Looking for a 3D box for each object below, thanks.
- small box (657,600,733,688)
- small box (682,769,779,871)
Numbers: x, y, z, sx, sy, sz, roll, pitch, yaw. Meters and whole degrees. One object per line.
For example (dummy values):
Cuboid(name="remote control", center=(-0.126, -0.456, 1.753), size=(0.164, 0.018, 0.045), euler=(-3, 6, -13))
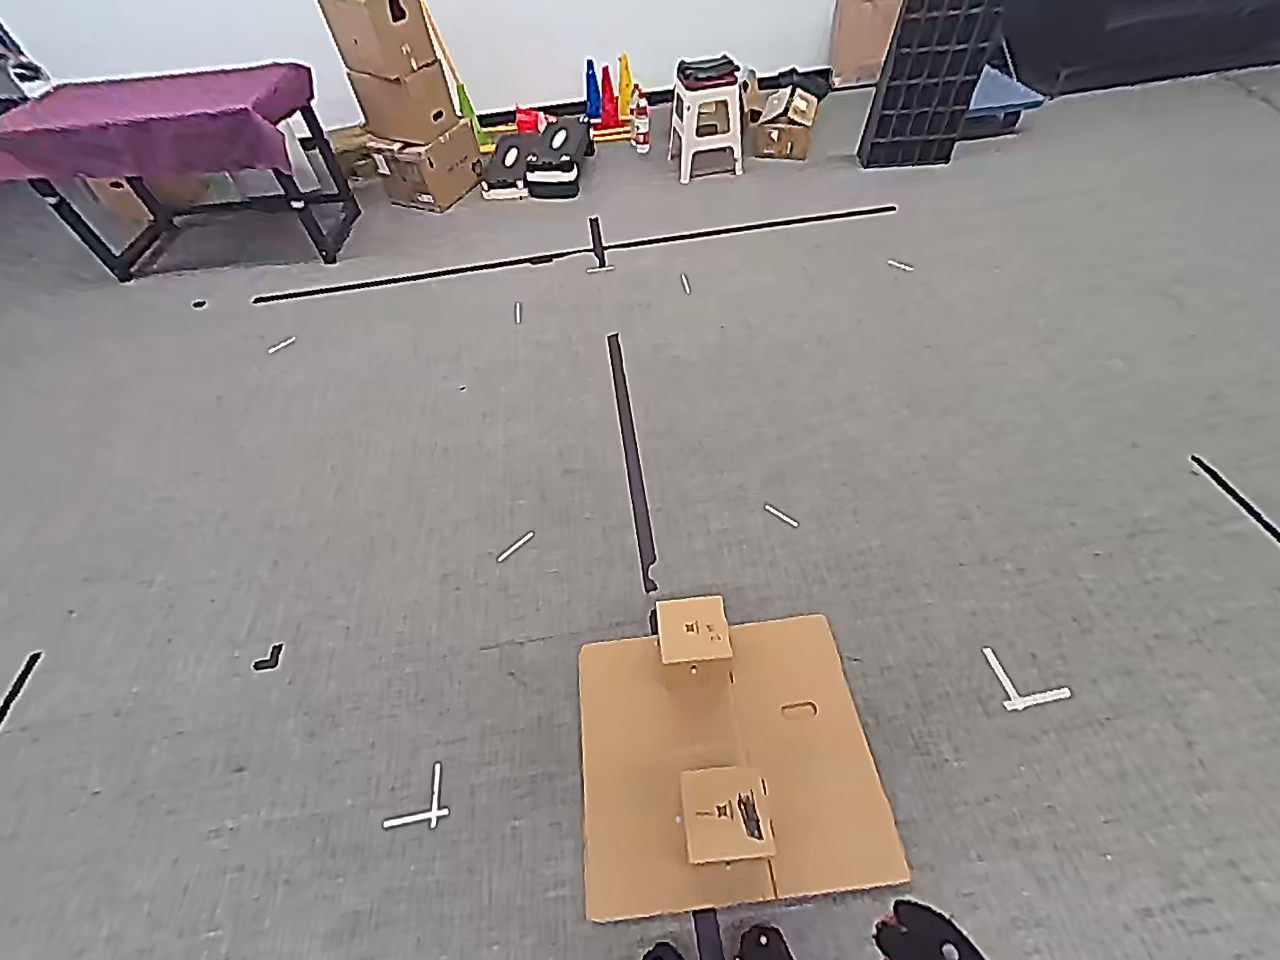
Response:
Cuboid(name="small box", center=(0.141, 0.433, 1.413), size=(0.179, 0.176, 0.168), euler=(-5, 51, 0))
Cuboid(name="small box", center=(0.185, 0.736, 1.169), size=(0.179, 0.176, 0.168), euler=(-6, 51, 0))
